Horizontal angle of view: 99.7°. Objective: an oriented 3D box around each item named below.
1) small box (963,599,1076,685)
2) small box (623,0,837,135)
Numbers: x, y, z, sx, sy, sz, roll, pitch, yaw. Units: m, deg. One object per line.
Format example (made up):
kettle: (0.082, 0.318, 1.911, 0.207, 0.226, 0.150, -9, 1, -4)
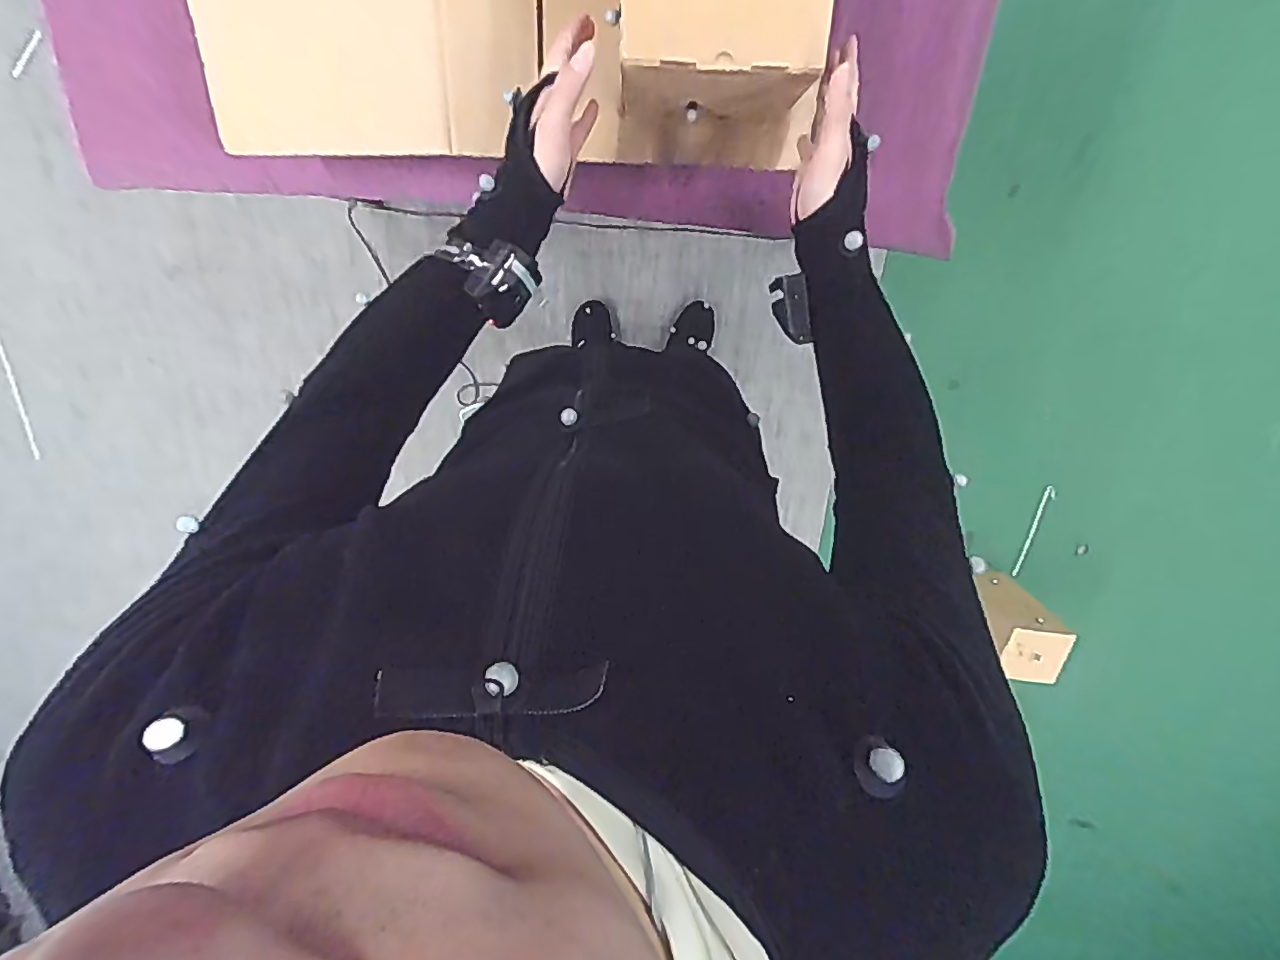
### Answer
small box: (1.079, 0.459, 1.552, 0.179, 0.176, 0.168, 7, 110, -1)
small box: (0.070, -0.431, 0.480, 0.168, 0.176, 0.179, 1, 112, -2)
